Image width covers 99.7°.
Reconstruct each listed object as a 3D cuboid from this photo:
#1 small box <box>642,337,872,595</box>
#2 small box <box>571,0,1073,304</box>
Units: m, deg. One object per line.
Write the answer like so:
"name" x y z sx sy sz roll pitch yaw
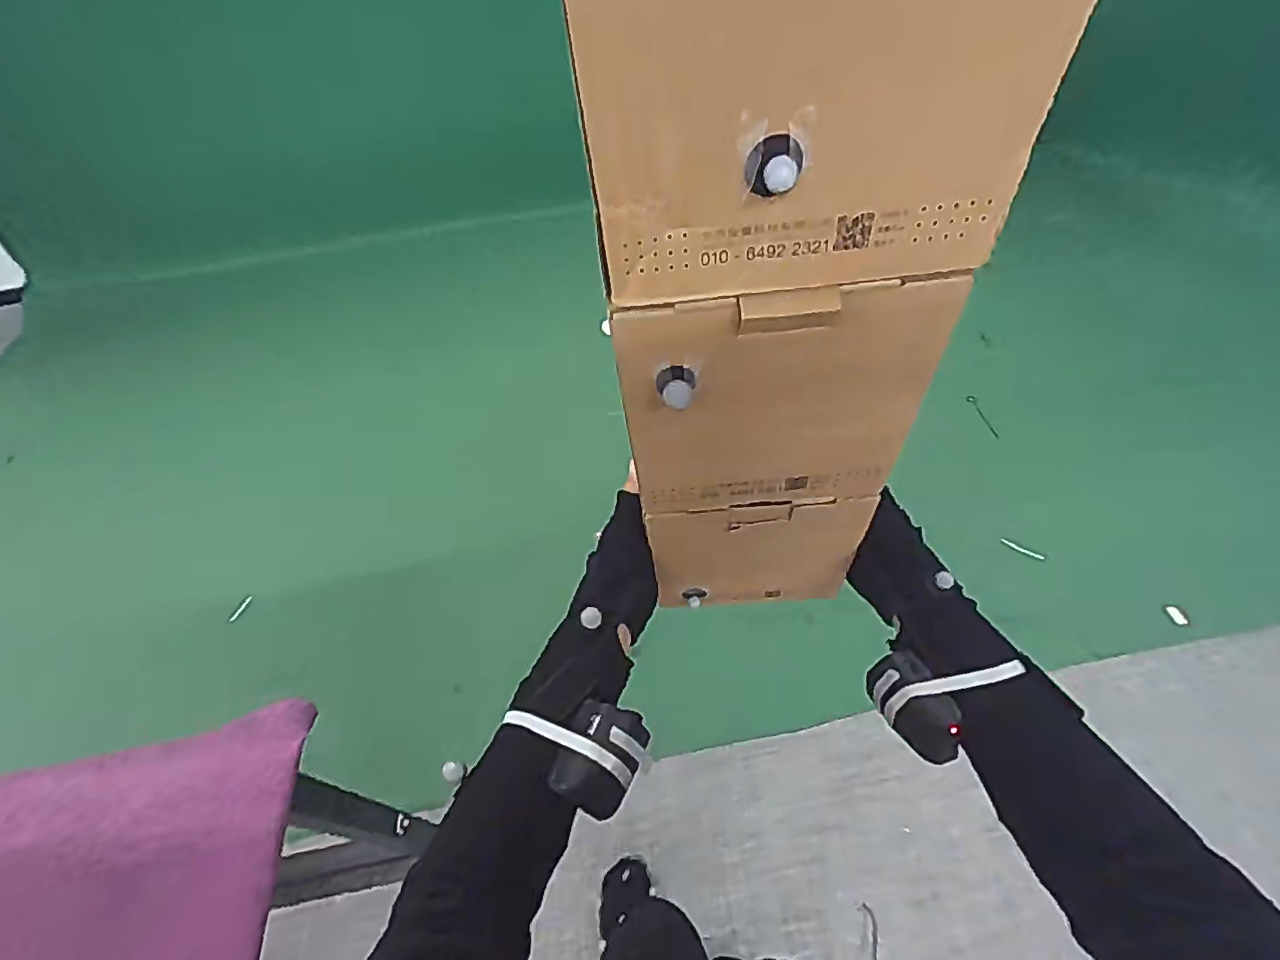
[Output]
"small box" 0.092 -0.003 0.497 0.168 0.176 0.179 -4 52 4
"small box" 0.057 -0.204 0.241 0.168 0.176 0.179 -6 53 3
